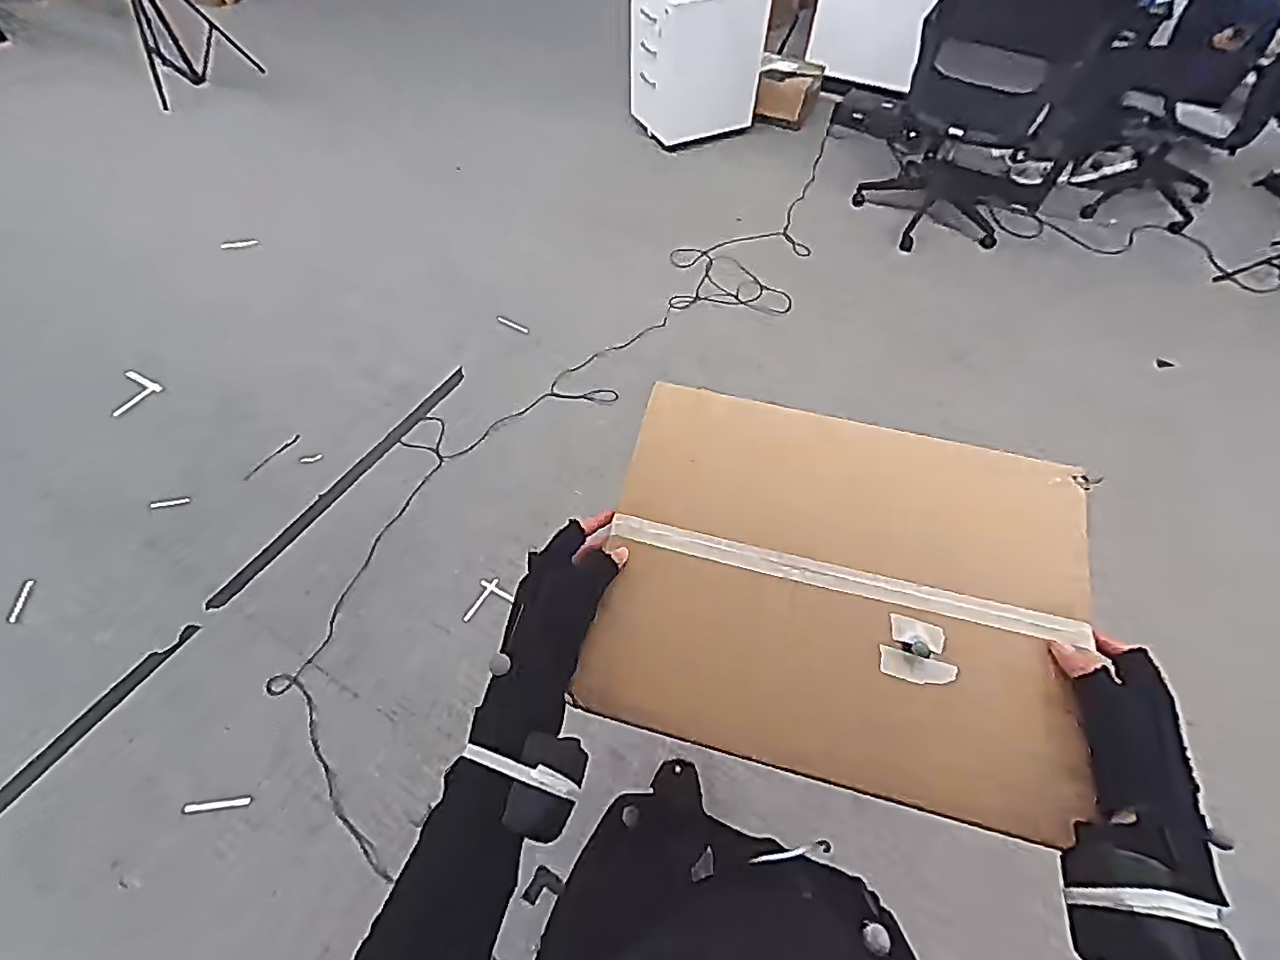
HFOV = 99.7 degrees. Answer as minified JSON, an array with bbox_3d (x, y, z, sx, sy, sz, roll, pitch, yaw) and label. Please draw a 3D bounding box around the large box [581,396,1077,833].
[{"bbox_3d":[0.180,0.144,0.622,0.408,0.320,0.320,13,70,7],"label":"large box"}]
